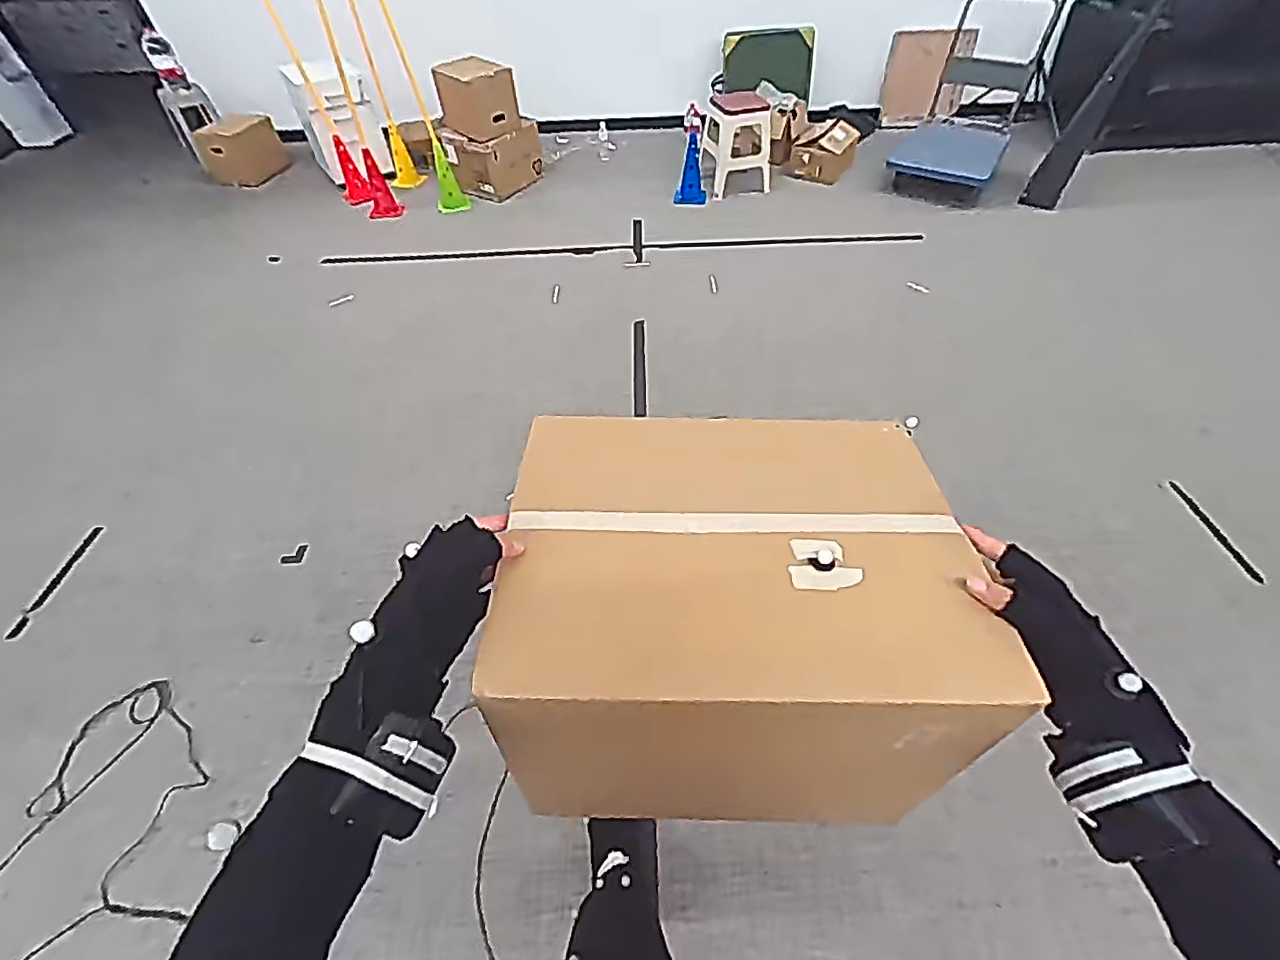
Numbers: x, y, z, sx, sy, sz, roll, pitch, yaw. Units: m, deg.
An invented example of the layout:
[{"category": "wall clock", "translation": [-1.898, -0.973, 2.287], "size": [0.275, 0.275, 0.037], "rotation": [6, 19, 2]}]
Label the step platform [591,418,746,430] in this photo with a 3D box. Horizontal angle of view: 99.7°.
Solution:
[{"category": "step platform", "translation": [0.046, -0.039, 1.847], "size": [0.684, 0.204, 0.286], "rotation": [-3, 50, -2]}]

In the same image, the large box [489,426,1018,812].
[{"category": "large box", "translation": [0.081, 0.154, 0.606], "size": [0.408, 0.320, 0.320], "rotation": [1, 45, 0]}]
